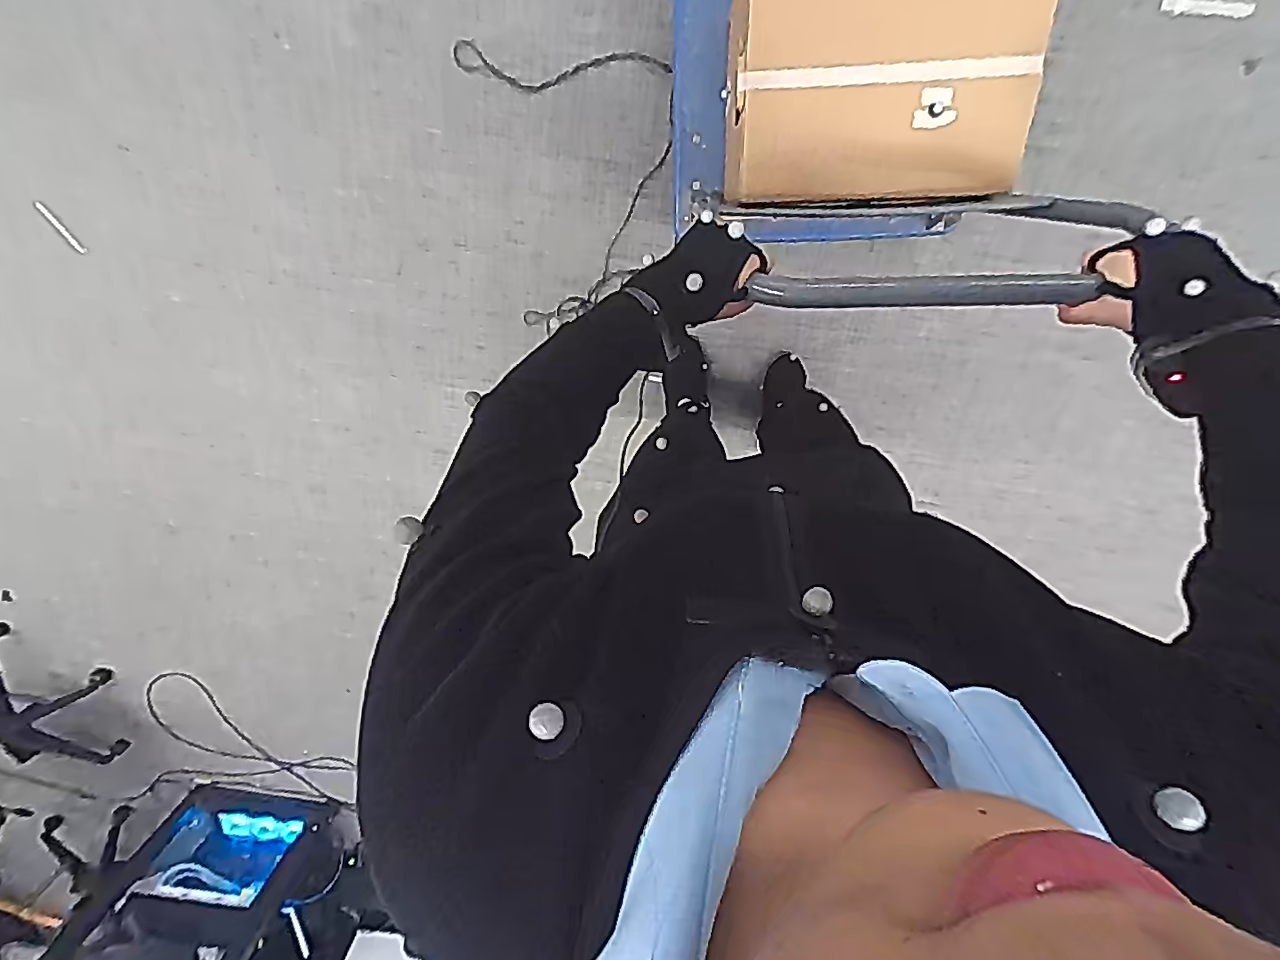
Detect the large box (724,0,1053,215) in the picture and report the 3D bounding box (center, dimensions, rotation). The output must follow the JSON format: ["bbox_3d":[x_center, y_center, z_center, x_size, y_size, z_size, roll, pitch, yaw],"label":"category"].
[{"bbox_3d":[0.352,-0.619,0.889,0.408,0.320,0.320,0,116,3],"label":"large box"}]
